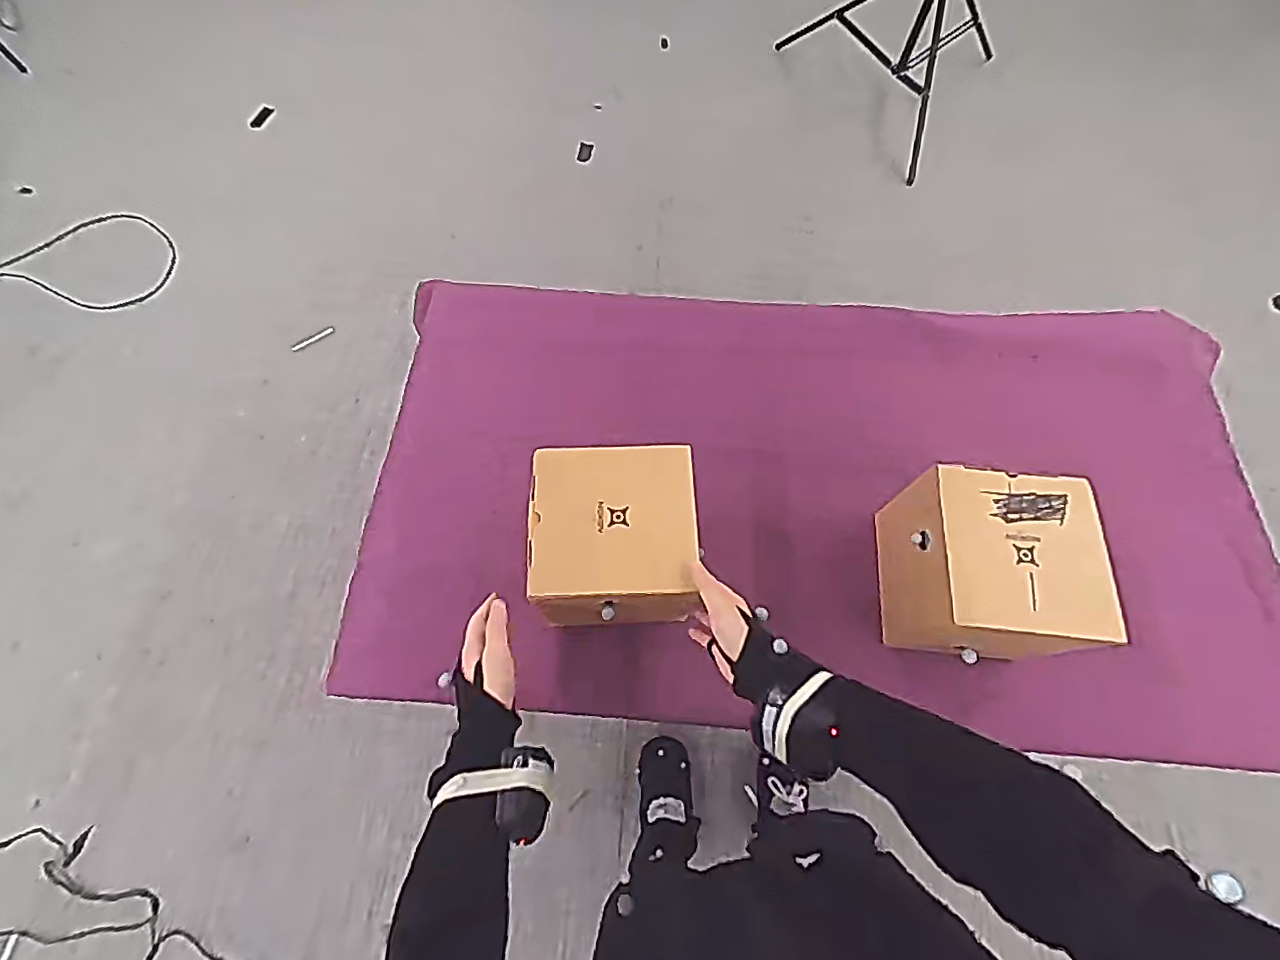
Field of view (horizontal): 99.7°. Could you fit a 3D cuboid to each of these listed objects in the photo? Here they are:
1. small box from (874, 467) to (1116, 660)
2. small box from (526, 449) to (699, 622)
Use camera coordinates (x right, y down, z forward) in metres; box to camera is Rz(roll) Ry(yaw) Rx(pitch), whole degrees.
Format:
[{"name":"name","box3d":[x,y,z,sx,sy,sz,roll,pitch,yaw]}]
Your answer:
[{"name":"small box","box3d":[0.389,0.104,0.631,0.168,0.176,0.179,6,67,2]},{"name":"small box","box3d":[-0.031,0.072,0.643,0.179,0.176,0.168,-2,67,-1]}]
